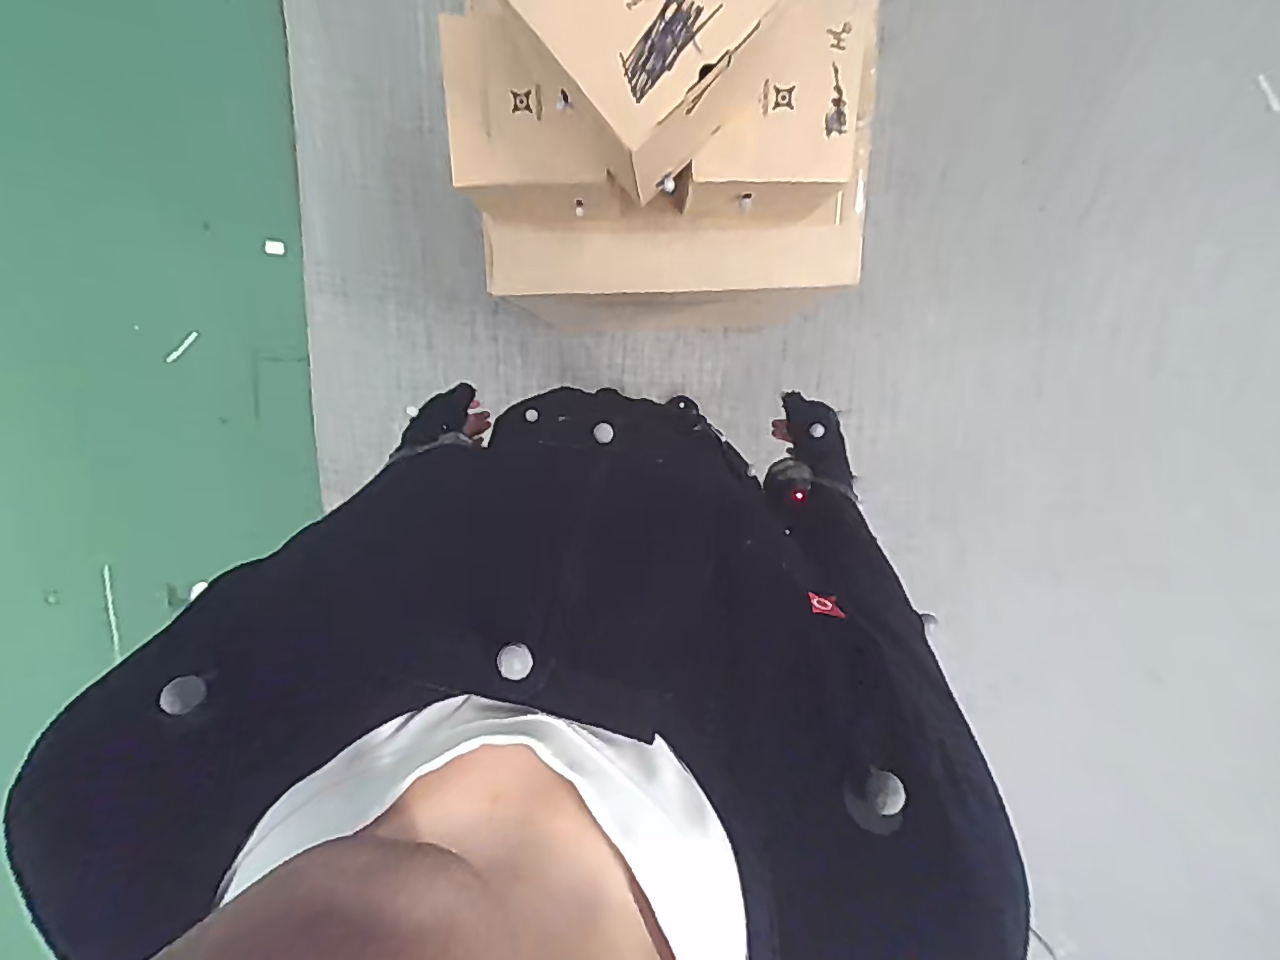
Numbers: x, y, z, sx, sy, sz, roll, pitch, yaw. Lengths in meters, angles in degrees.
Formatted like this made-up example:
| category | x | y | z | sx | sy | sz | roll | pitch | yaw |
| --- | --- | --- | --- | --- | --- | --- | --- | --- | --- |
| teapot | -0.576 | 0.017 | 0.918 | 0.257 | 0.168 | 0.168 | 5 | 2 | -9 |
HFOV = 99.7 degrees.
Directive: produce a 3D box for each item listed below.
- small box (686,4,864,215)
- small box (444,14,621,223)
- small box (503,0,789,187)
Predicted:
| category | x | y | z | sx | sy | sz | roll | pitch | yaw |
| --- | --- | --- | --- | --- | --- | --- | --- | --- | --- |
| small box | 0.146 | -0.425 | 0.650 | 0.179 | 0.176 | 0.168 | 1 | 104 | 3 |
| small box | -0.115 | -0.424 | 0.660 | 0.179 | 0.176 | 0.168 | -1 | 102 | 3 |
| small box | 0.004 | -0.401 | 0.492 | 0.168 | 0.176 | 0.179 | -41 | 97 | 10 |
